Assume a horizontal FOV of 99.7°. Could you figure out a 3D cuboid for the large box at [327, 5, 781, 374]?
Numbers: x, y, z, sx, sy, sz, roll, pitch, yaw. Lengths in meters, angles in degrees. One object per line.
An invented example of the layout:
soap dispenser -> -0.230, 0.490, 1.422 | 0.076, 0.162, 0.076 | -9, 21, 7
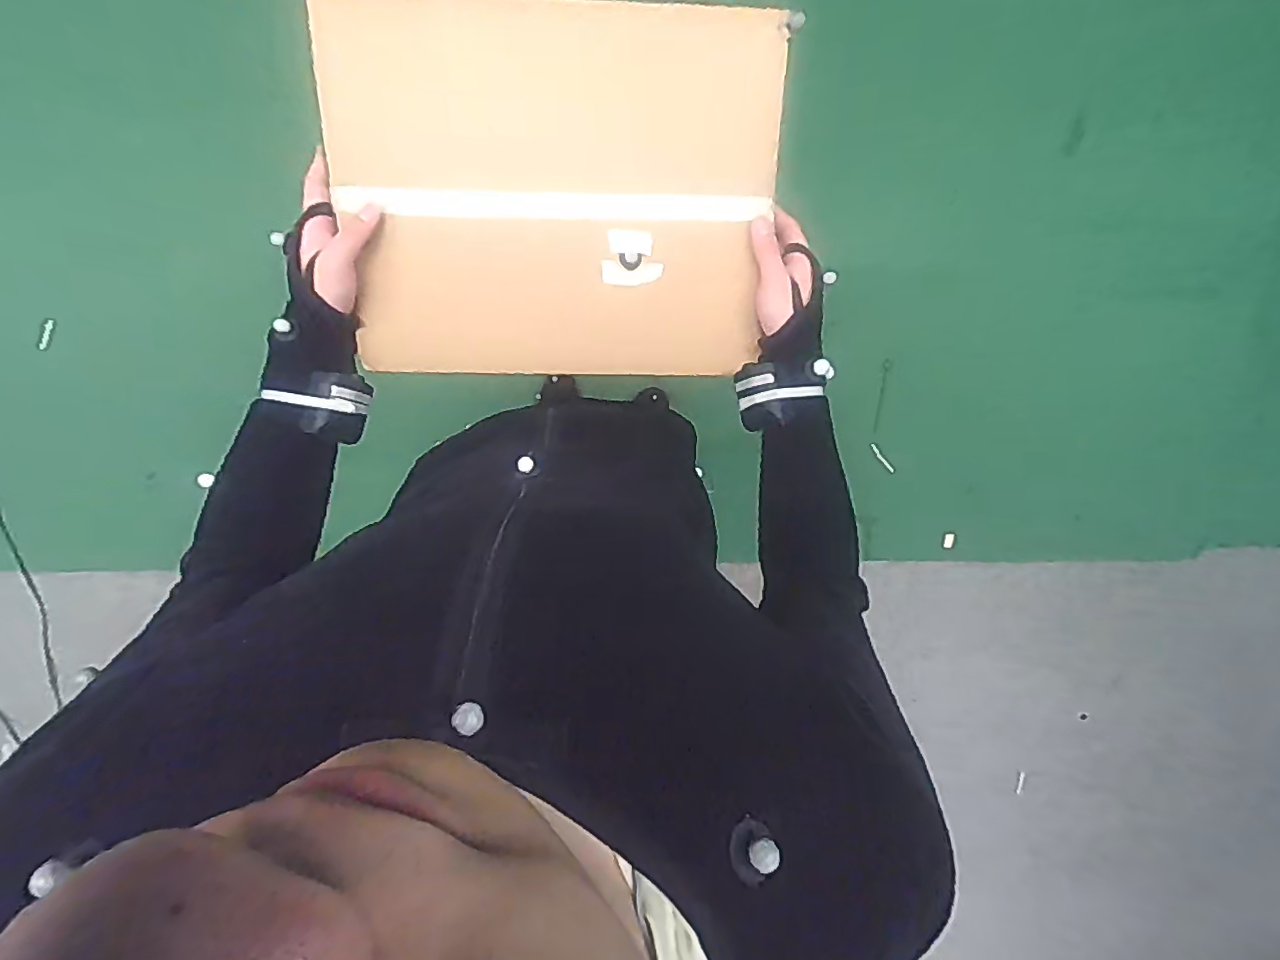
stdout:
large box -> -0.083, -0.304, 0.658 | 0.408, 0.320, 0.320 | 0, 108, -4
